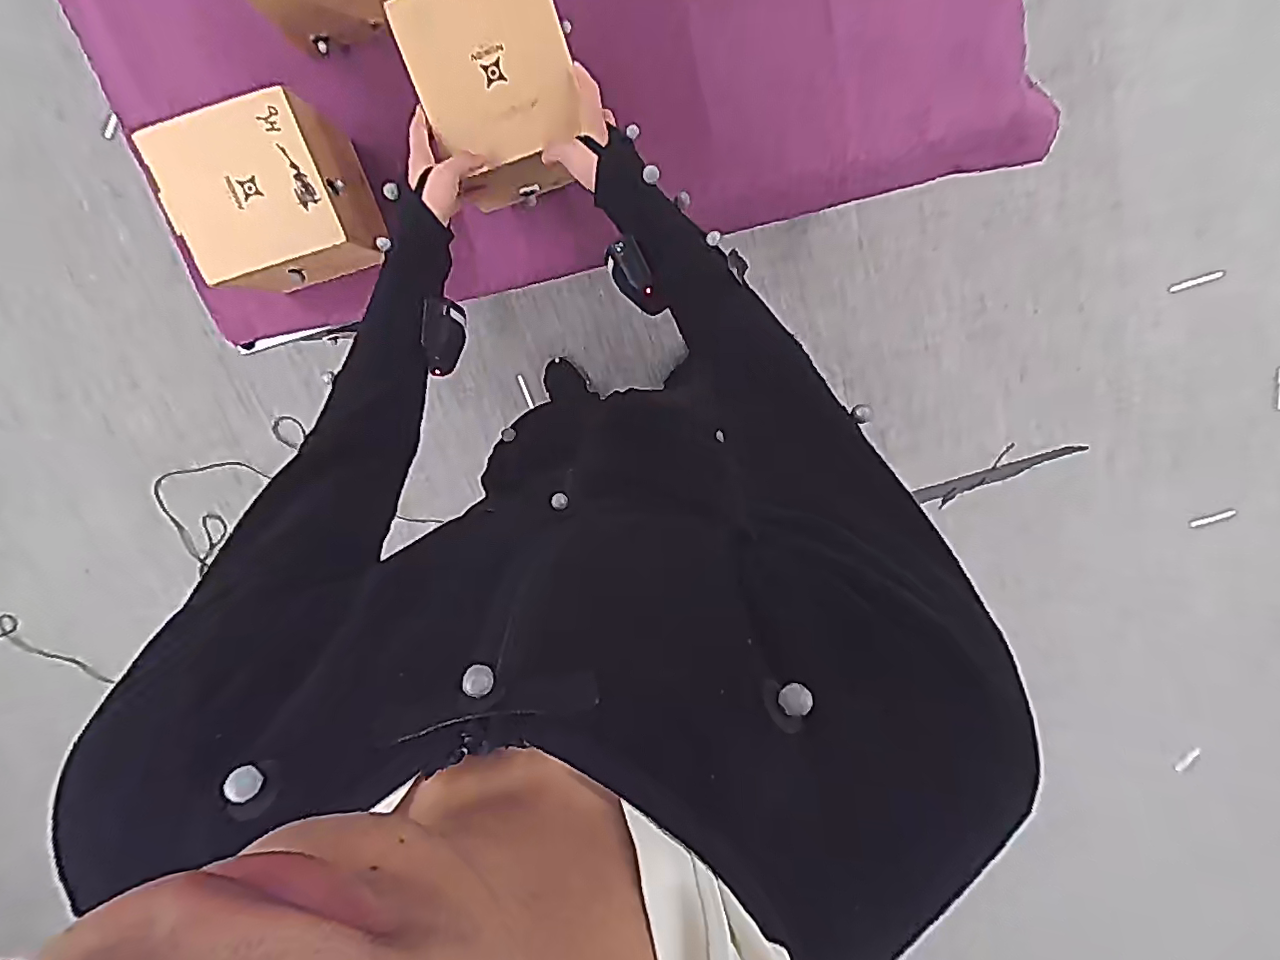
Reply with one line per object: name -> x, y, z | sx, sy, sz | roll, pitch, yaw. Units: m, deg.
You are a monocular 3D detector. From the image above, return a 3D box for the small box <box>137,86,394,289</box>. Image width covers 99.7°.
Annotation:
small box -> -0.451, -0.350, 0.685 | 0.179, 0.176, 0.168 | -17, 107, 1

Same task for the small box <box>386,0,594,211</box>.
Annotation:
small box -> -0.159, -0.448, 0.640 | 0.168, 0.176, 0.179 | -19, 107, 2

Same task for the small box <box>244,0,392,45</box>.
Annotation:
small box -> -0.382, -0.638, 0.612 | 0.168, 0.176, 0.179 | -18, 106, 1
